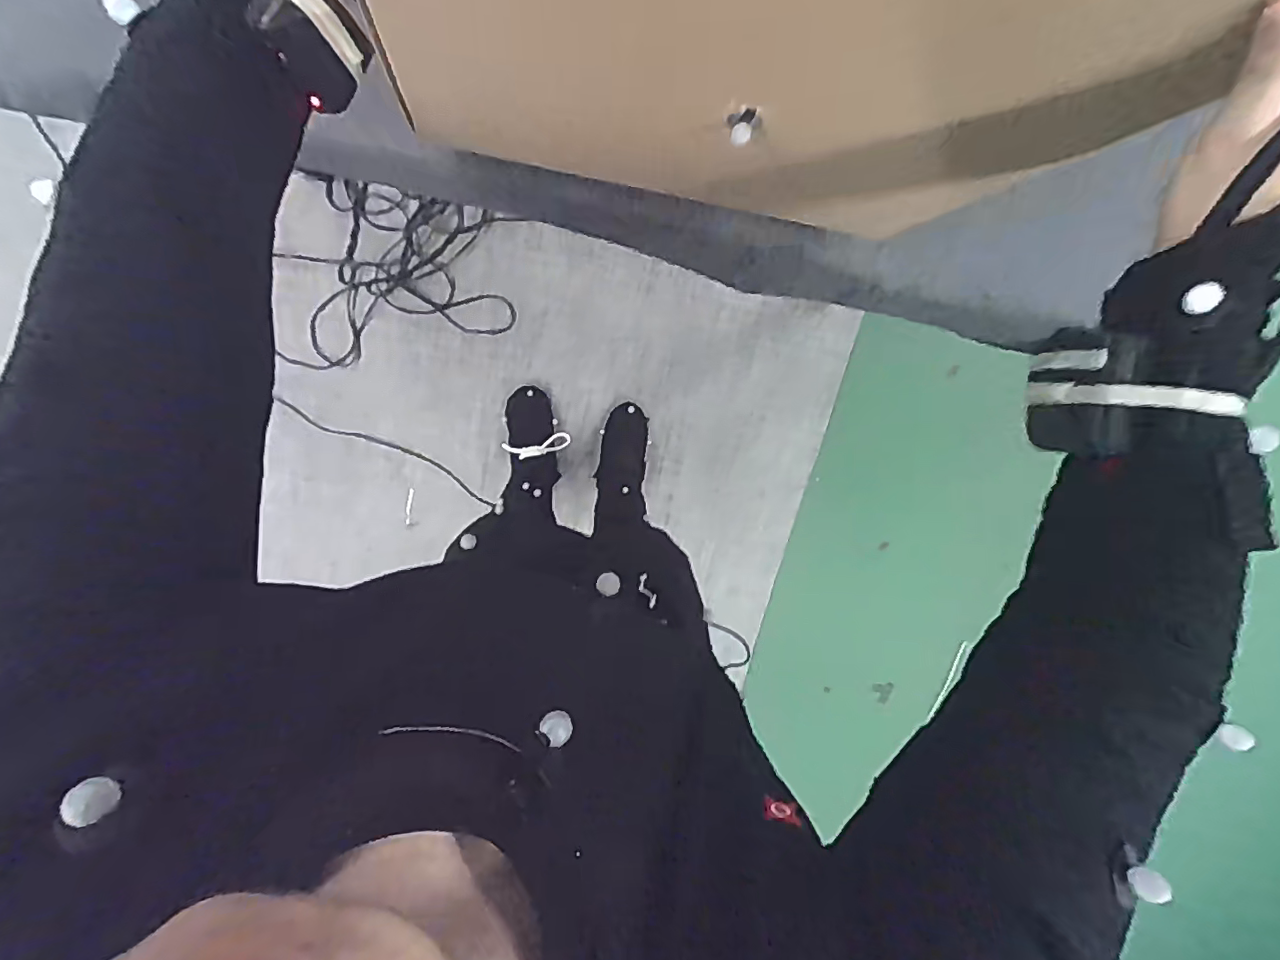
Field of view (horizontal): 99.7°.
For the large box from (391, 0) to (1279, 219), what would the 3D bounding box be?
[{"bbox_3d":[0.083,-0.372,0.300,0.408,0.320,0.320,4,99,-12],"label":"large box"}]
